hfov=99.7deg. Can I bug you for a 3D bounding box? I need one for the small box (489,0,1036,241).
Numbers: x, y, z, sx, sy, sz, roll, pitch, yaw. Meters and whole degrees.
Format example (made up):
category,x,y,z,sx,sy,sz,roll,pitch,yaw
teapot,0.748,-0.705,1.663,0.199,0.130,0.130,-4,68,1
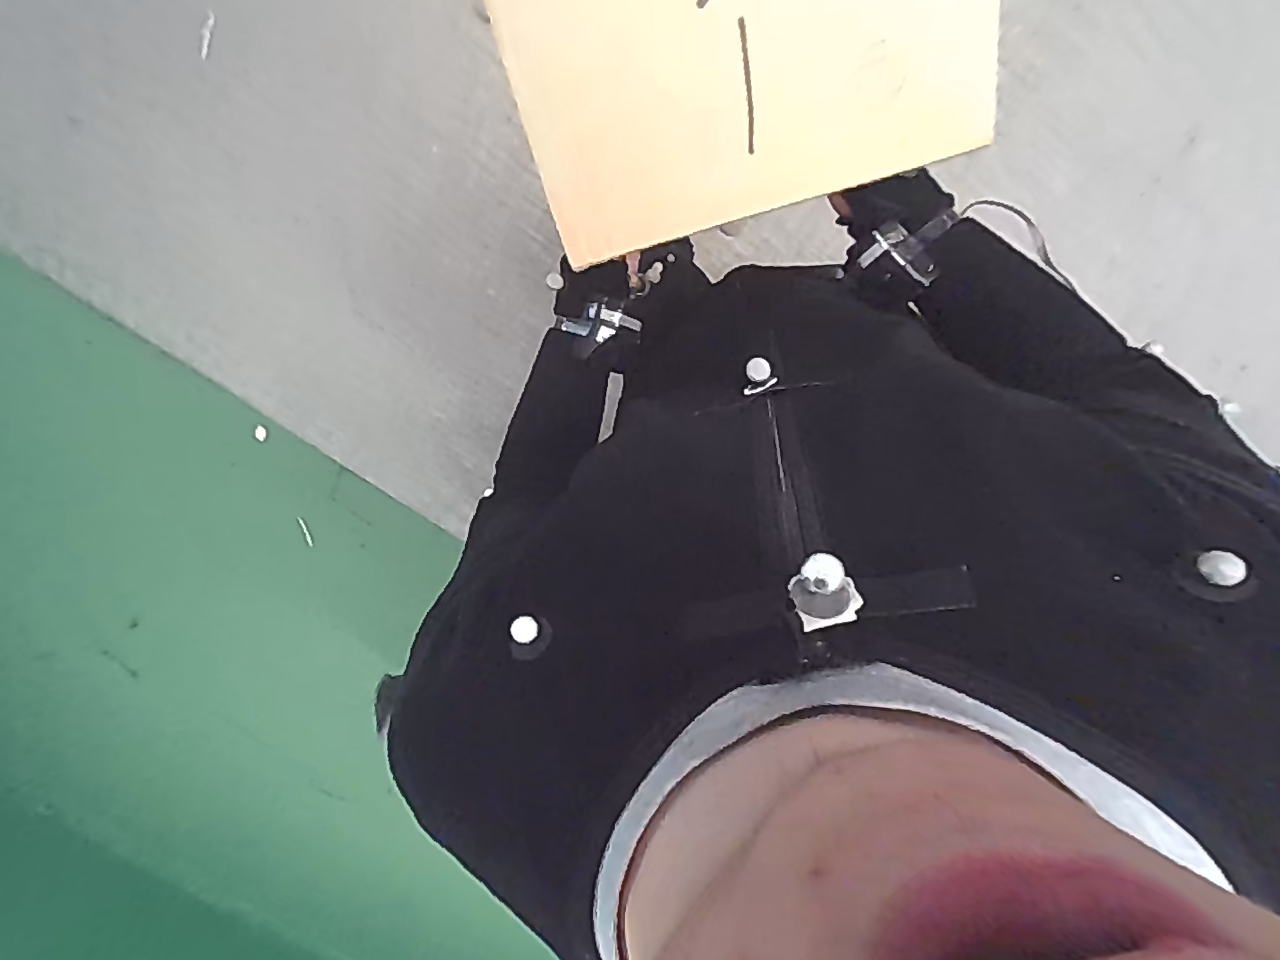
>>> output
category,x,y,z,sx,sy,sz,roll,pitch,yaw
small box,0.032,-0.216,0.222,0.168,0.176,0.179,-11,118,10
